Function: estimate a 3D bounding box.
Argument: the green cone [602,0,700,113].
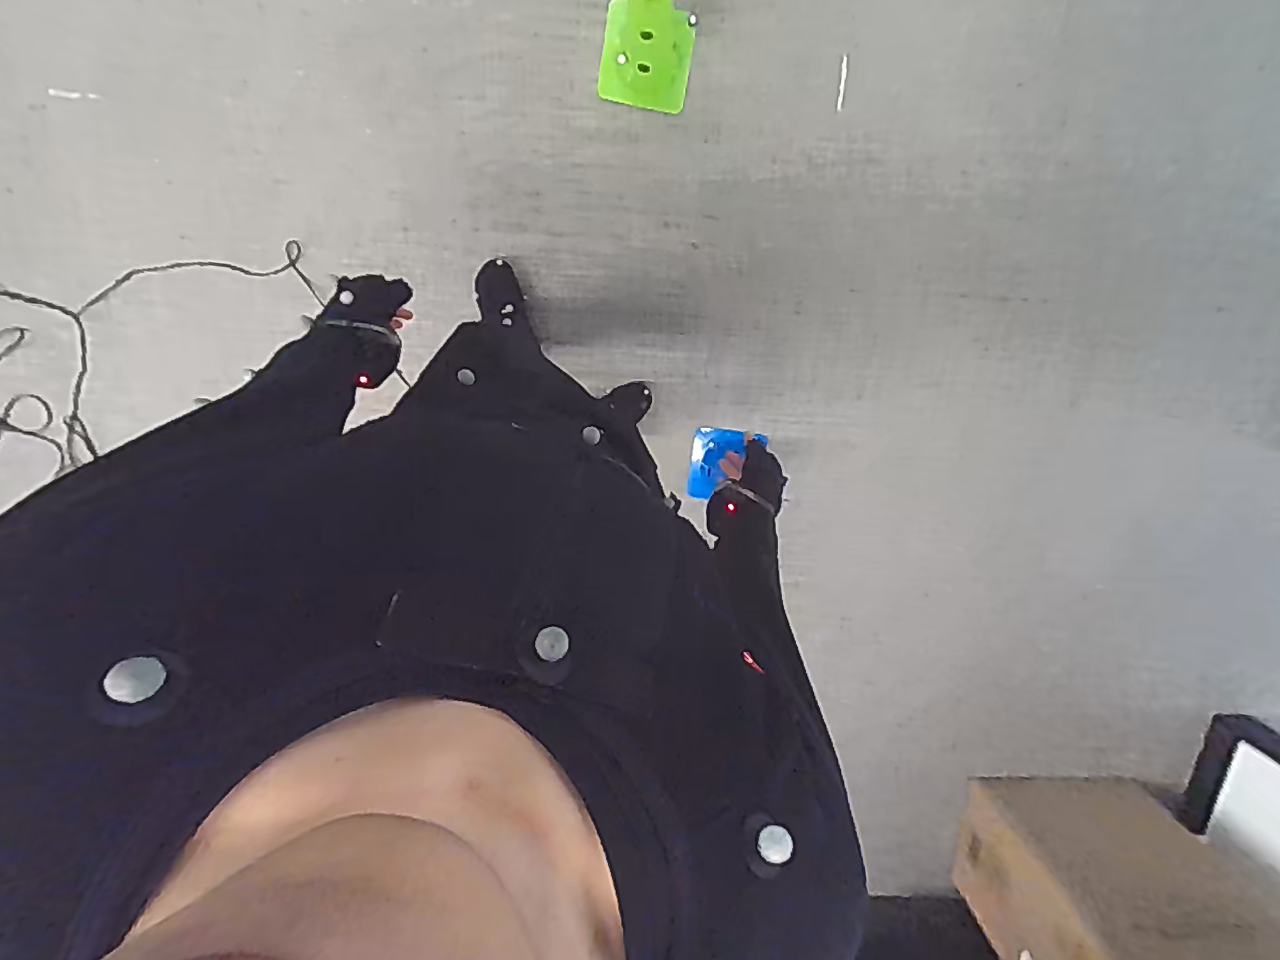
[{"bbox_3d":[0.025,-0.917,1.062,0.200,0.368,0.202,9,104,-3],"label":"green cone"}]
